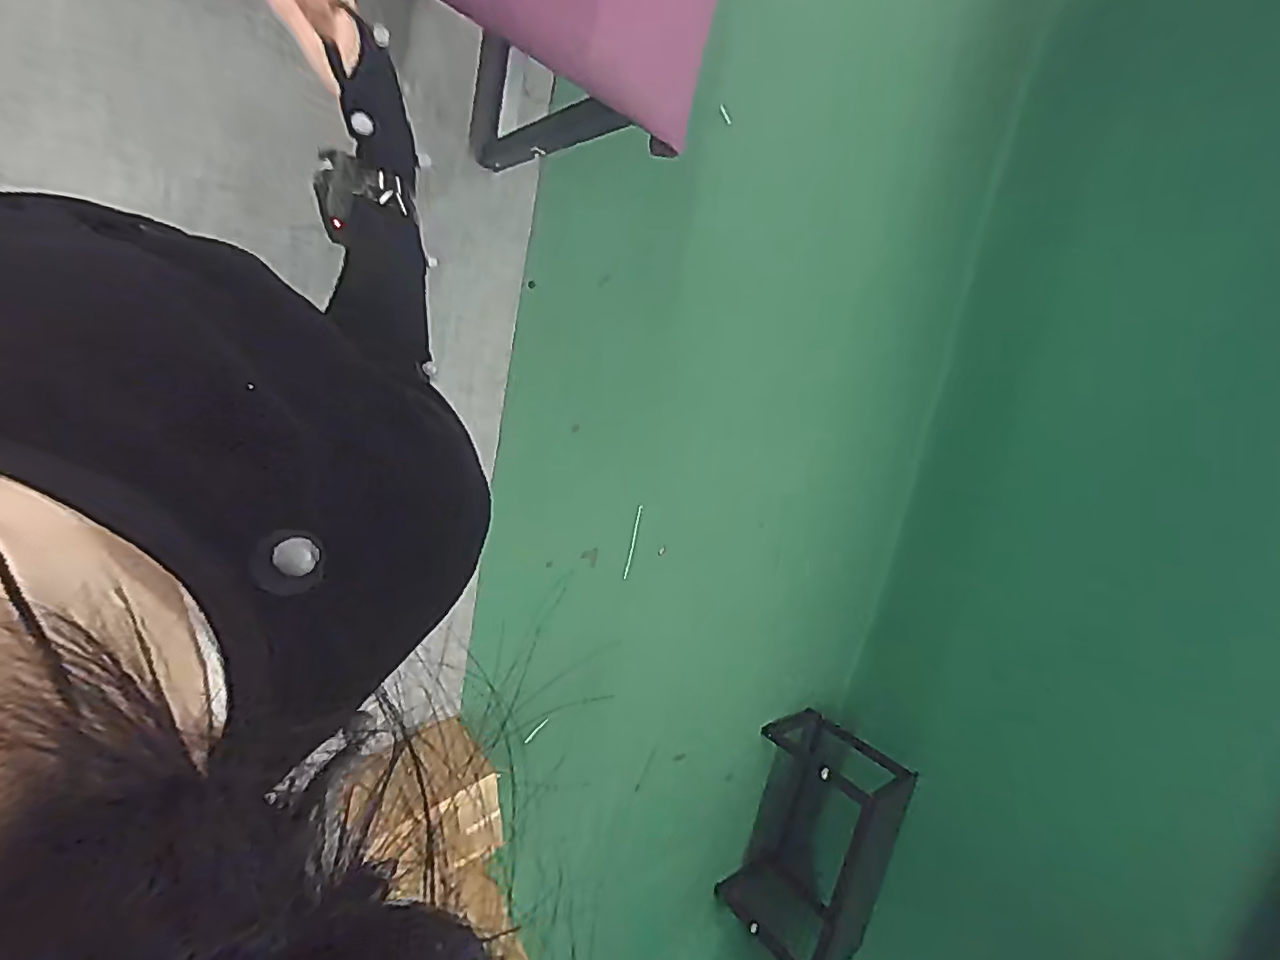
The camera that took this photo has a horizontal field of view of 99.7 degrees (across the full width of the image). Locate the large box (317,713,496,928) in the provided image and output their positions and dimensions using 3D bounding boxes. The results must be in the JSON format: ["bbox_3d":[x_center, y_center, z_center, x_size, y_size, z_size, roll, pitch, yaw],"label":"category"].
[{"bbox_3d":[-0.707,1.009,1.658,0.408,0.320,0.320,-16,116,-40],"label":"large box"}]

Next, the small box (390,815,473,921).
[{"bbox_3d":[-0.565,1.048,1.458,0.168,0.176,0.179,-8,110,-40],"label":"small box"}]

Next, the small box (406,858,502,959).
[{"bbox_3d":[-0.463,1.097,1.342,0.179,0.176,0.168,-7,109,-40],"label":"small box"}]
